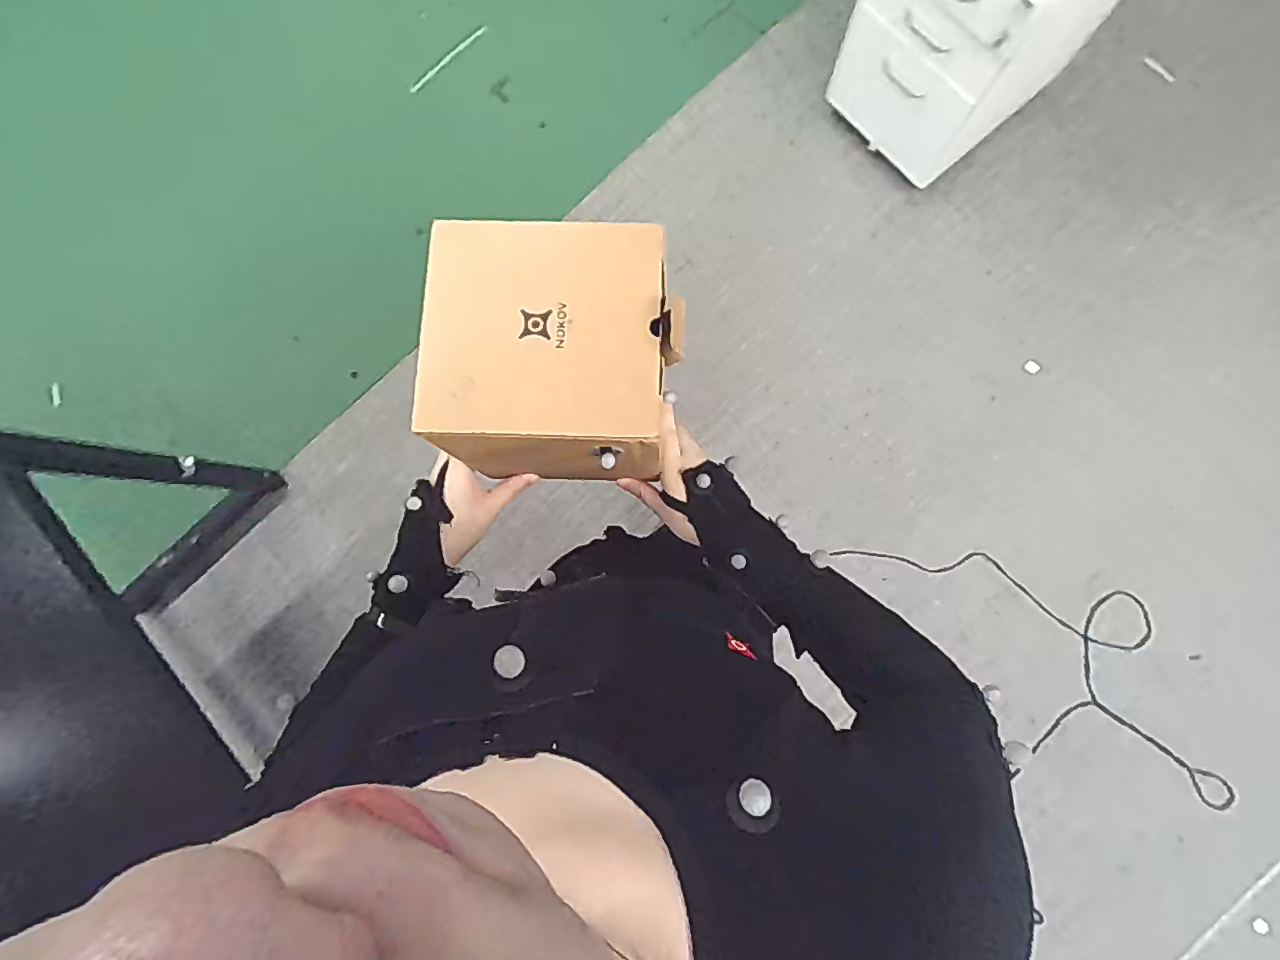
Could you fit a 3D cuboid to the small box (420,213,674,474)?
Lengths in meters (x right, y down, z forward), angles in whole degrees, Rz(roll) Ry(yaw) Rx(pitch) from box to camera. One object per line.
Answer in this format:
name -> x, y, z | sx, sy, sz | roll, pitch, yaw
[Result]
small box -> -0.063, -0.101, 0.467 | 0.179, 0.176, 0.168 | 2, 80, 0
